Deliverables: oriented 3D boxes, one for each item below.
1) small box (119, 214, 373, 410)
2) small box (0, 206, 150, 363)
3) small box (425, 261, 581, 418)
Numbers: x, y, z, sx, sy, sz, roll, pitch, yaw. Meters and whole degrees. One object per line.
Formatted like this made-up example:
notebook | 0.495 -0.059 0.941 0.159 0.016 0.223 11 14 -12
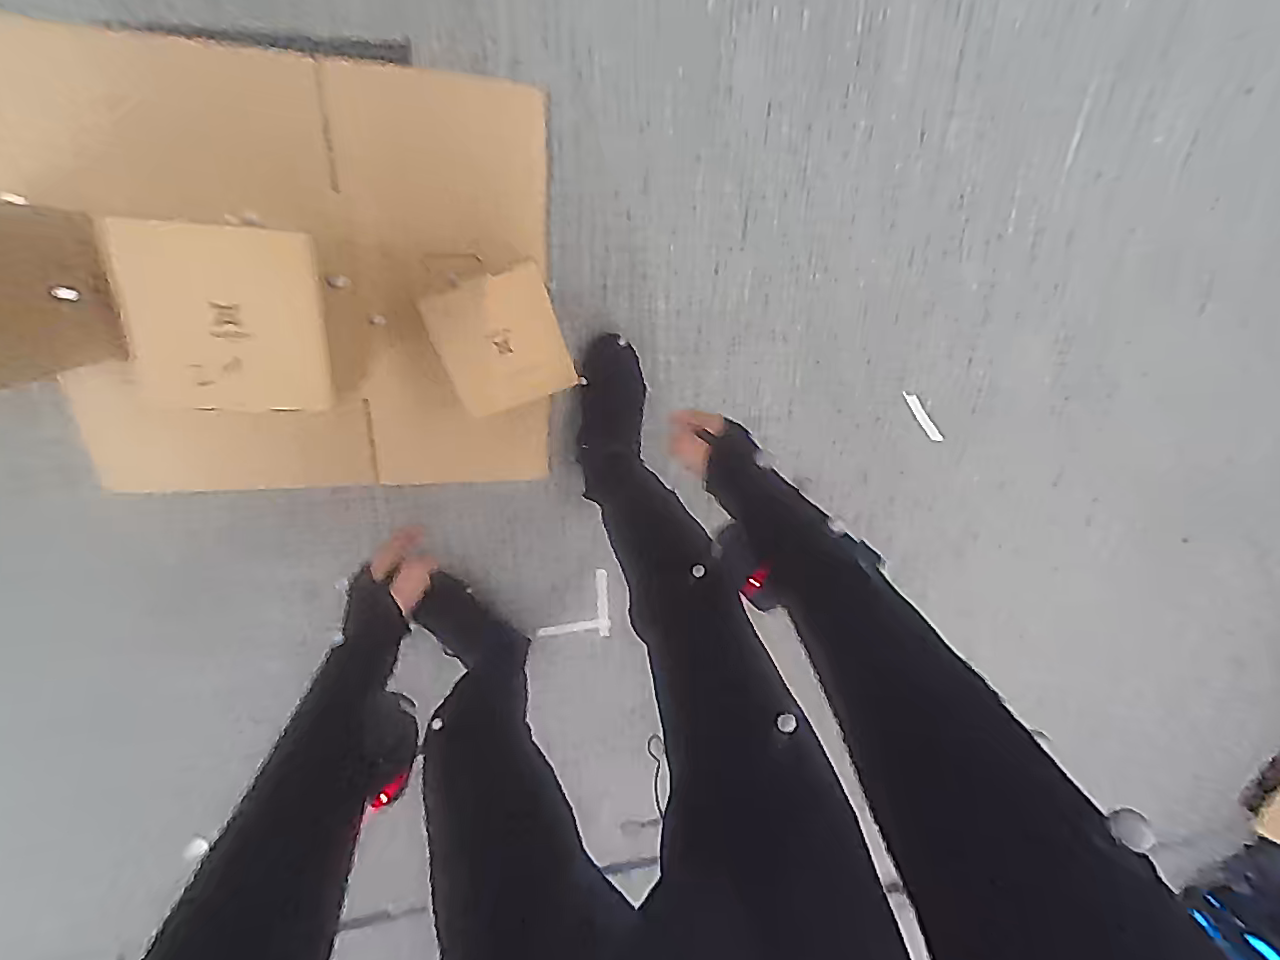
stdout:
small box | -0.406 -0.185 0.596 0.168 0.176 0.179 0 114 -14
small box | -0.710 -0.247 0.677 0.179 0.176 0.168 -2 114 -12
small box | -0.200 -0.218 0.816 0.168 0.176 0.179 -20 116 -3
